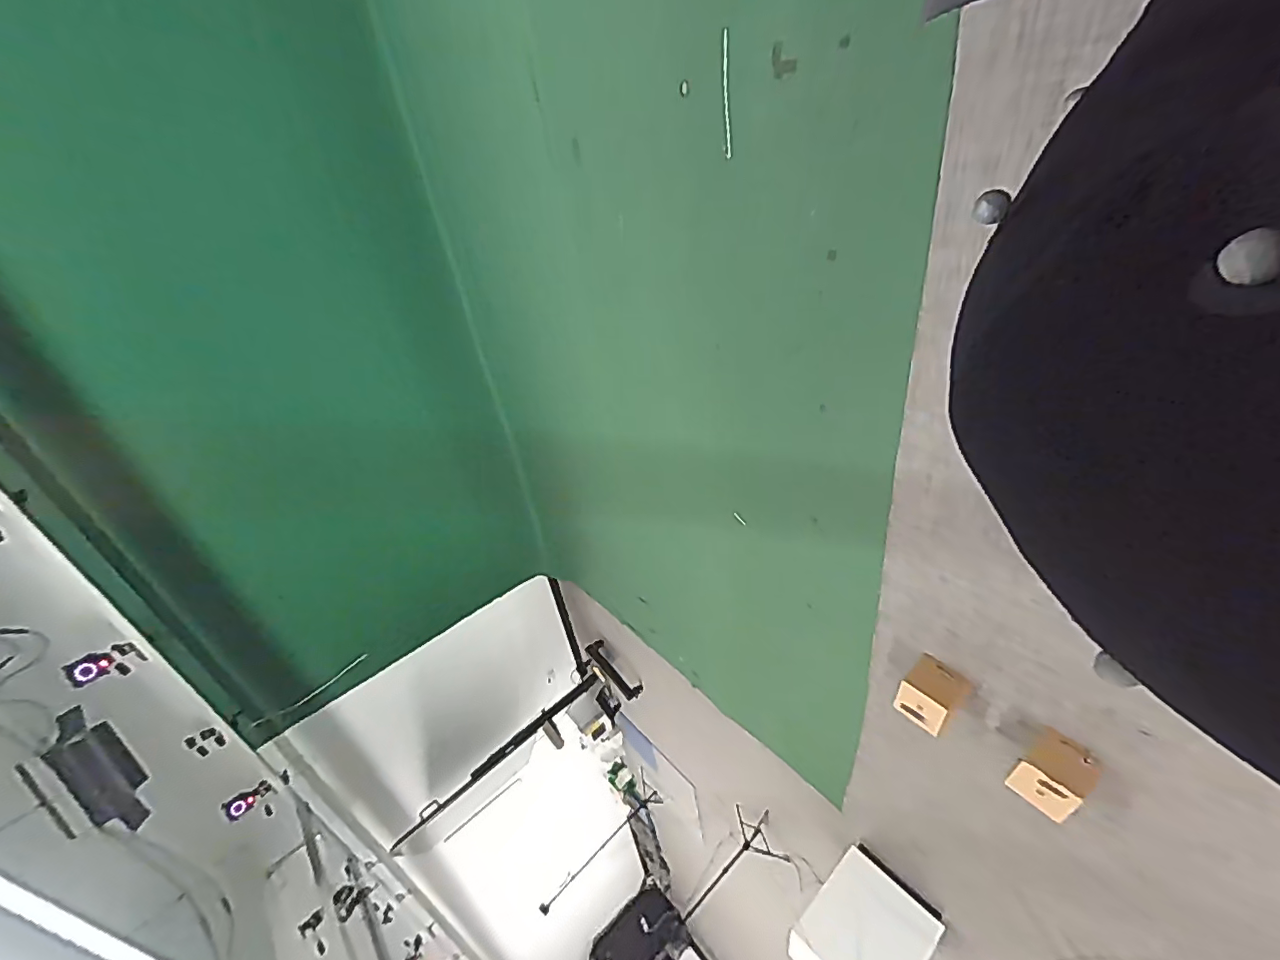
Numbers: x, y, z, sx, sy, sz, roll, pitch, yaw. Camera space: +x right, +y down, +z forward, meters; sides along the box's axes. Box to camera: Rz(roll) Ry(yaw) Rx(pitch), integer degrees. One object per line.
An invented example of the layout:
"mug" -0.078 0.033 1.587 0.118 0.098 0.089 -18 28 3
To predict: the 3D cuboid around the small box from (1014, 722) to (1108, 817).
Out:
"small box" 1.335 0.910 1.712 0.168 0.176 0.179 35 144 39
